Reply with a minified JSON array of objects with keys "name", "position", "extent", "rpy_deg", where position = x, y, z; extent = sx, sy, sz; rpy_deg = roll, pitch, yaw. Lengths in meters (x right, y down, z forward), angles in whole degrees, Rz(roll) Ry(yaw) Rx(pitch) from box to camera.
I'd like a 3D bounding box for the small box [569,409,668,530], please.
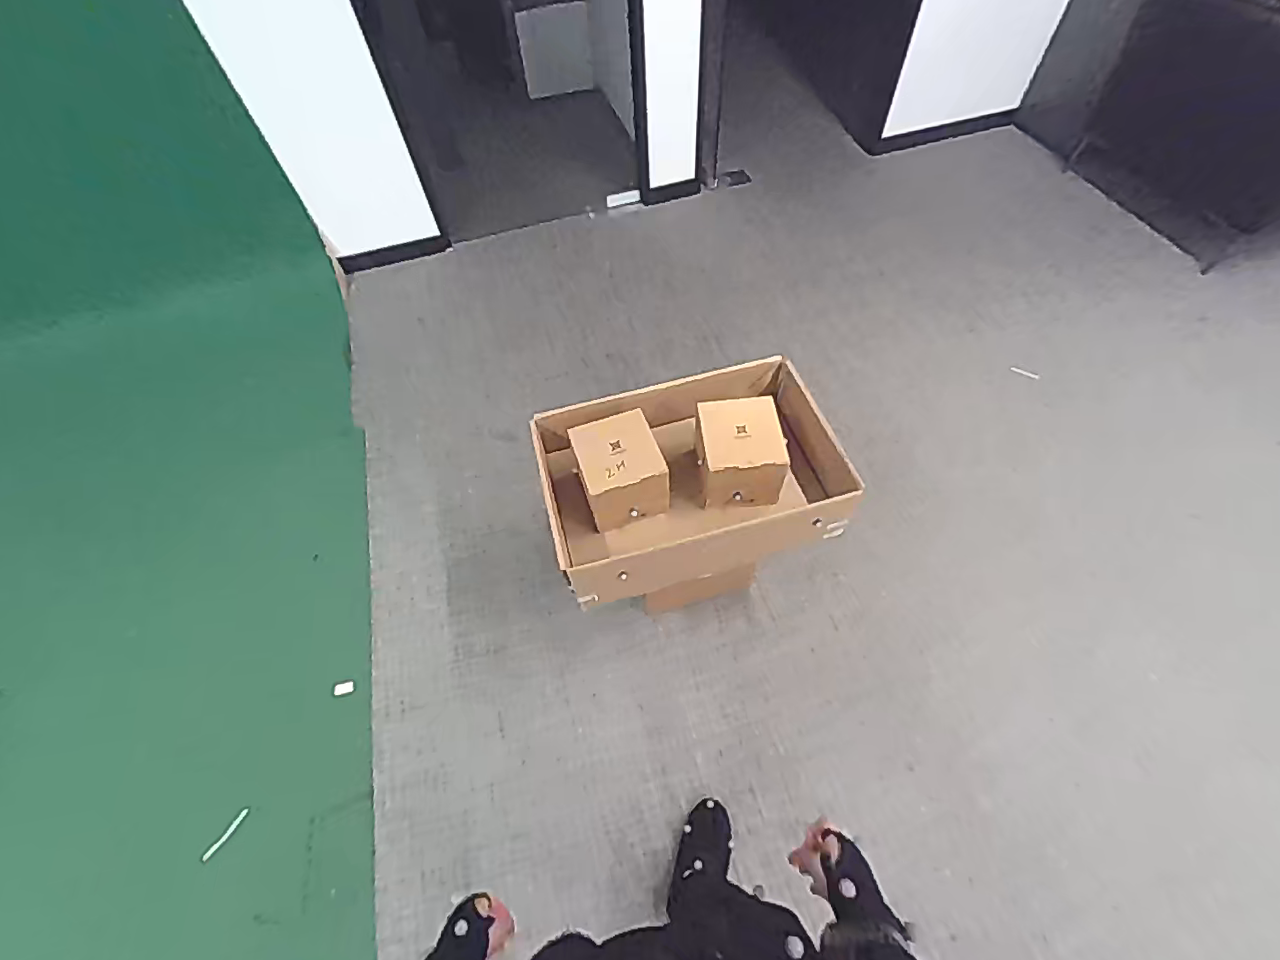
[{"name":"small box","position":[-0.045,-0.020,1.164],"extent":[0.168,0.176,0.179],"rpy_deg":[-17,59,-8]}]
